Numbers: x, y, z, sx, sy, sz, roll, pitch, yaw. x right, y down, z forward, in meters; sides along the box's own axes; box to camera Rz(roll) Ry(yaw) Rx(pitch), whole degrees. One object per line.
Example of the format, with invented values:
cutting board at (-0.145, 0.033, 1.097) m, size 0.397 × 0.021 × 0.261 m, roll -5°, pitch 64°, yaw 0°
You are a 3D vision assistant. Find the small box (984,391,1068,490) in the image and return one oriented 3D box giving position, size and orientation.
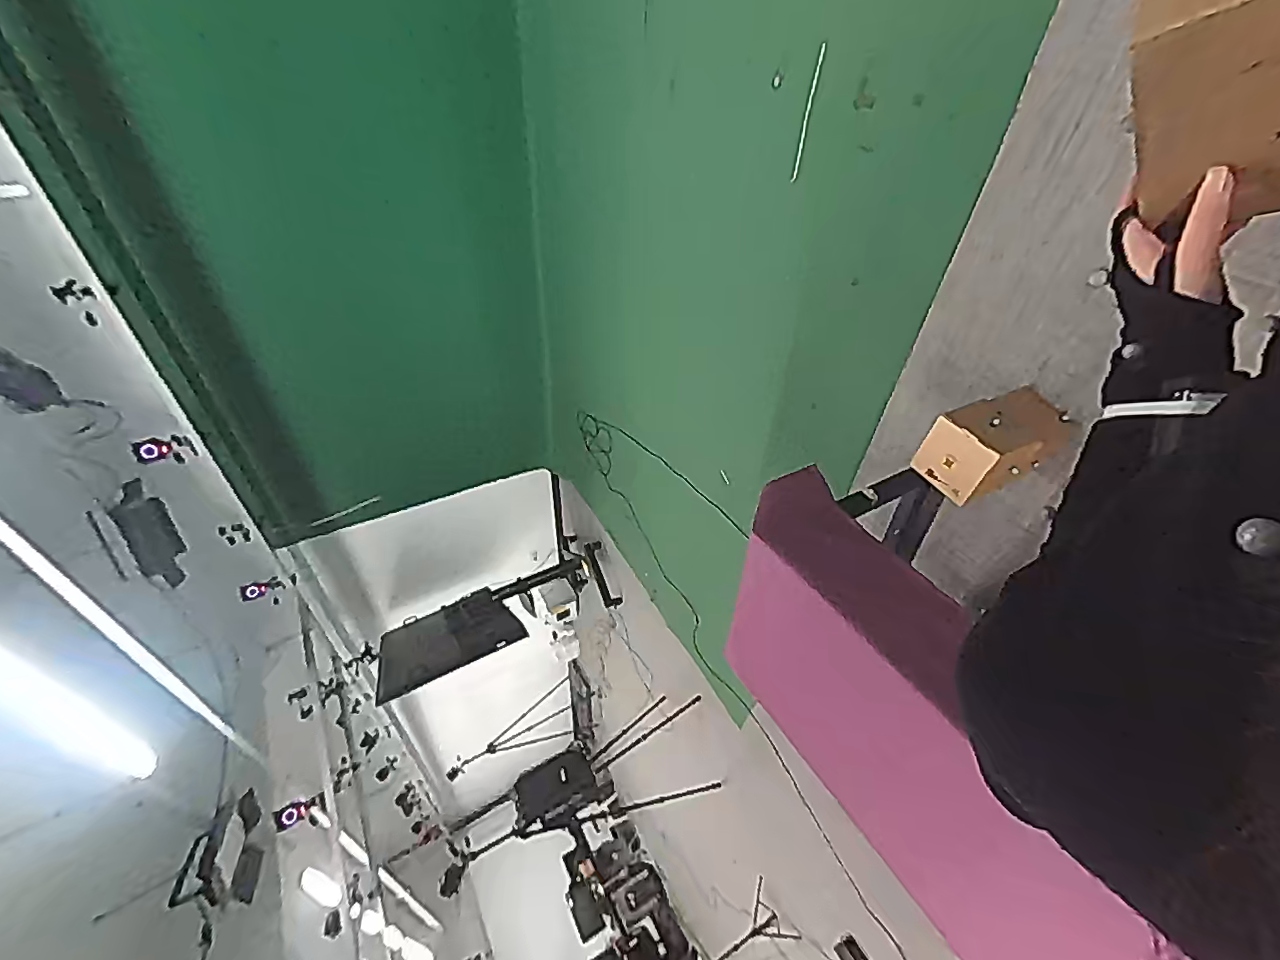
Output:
small box at (0.967, -0.109, 1.418) m, size 0.168 × 0.176 × 0.179 m, roll 56°, pitch 153°, yaw 31°

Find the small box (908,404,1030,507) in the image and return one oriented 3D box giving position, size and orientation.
small box at (0.823, -0.068, 1.349) m, size 0.168 × 0.176 × 0.179 m, roll 54°, pitch 150°, yaw 35°
